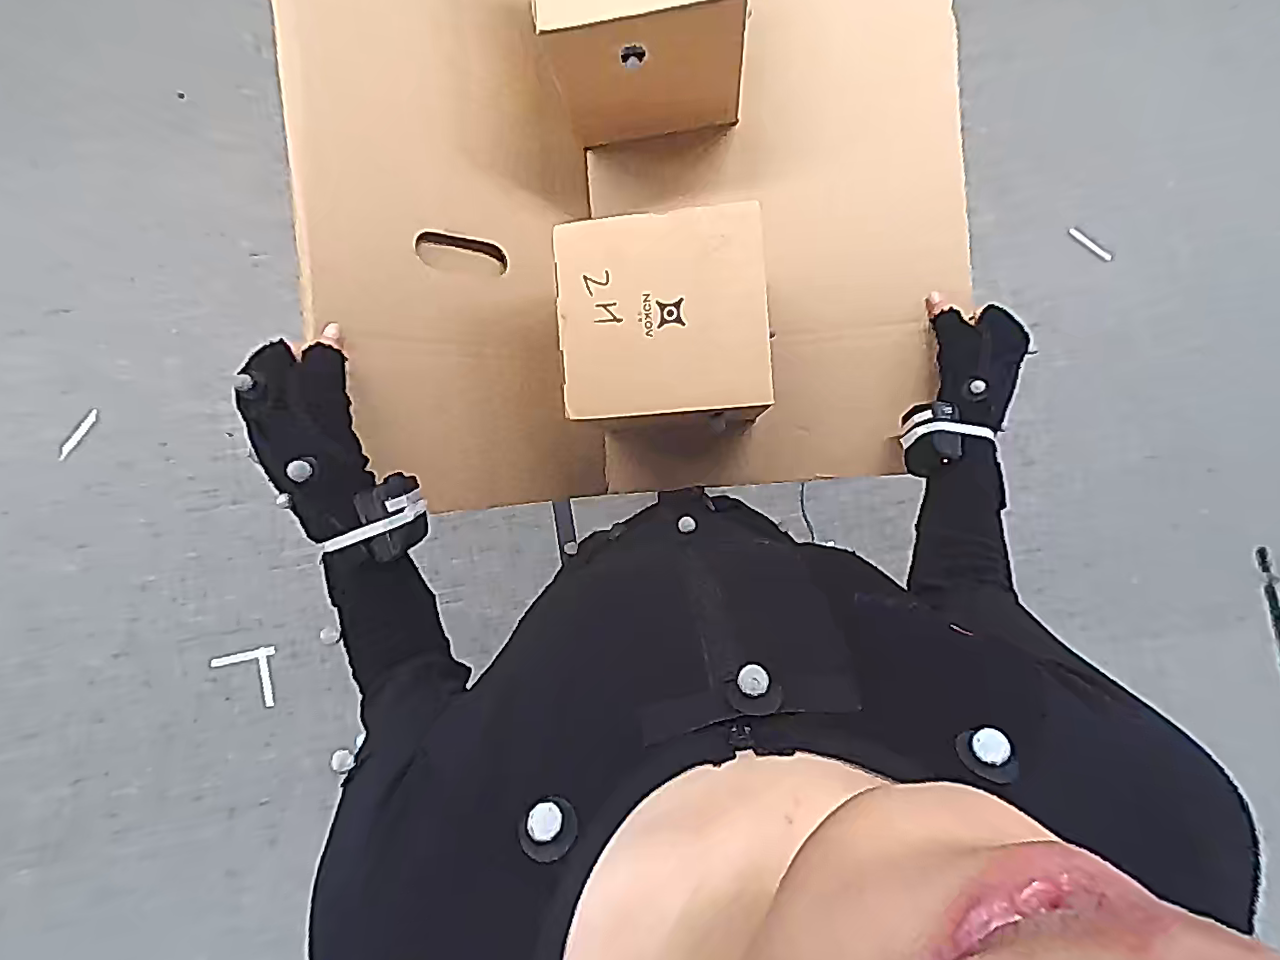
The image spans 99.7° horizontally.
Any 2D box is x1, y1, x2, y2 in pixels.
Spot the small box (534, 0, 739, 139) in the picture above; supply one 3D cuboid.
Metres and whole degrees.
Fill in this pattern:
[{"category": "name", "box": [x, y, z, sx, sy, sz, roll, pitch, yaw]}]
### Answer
[{"category": "small box", "box": [0.002, -0.467, 0.526, 0.179, 0.176, 0.168, -5, 91, 7]}]
